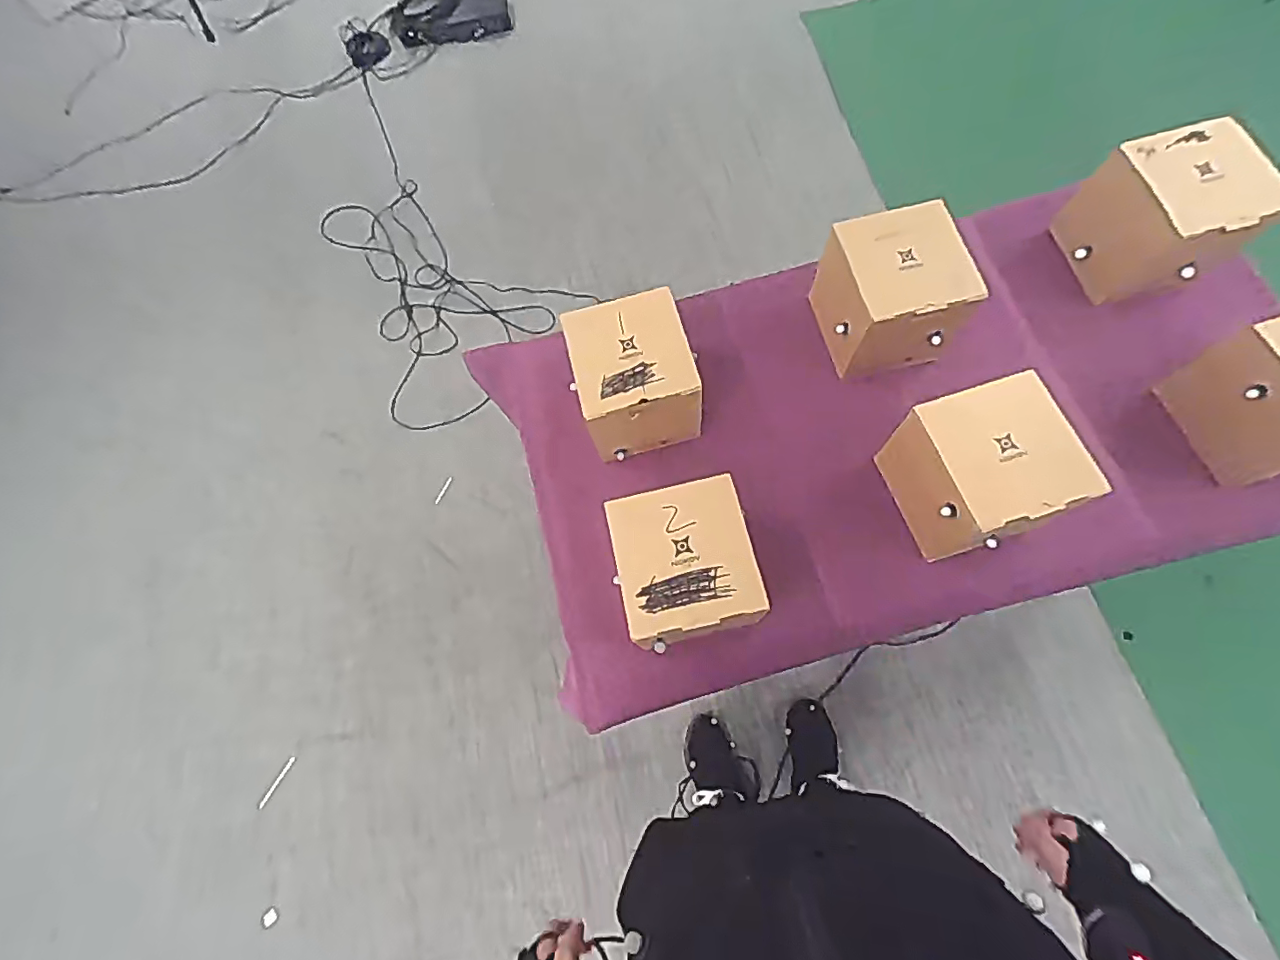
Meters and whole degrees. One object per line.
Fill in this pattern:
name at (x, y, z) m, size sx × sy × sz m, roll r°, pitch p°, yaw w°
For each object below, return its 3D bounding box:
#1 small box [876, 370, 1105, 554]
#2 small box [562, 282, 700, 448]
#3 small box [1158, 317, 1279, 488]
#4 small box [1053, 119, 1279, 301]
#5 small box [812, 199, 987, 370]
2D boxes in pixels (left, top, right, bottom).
small box at (0.453, -0.016, 0.737) m, size 0.168 × 0.176 × 0.179 m, roll -17°, pitch 70°, yaw -1°
small box at (-0.008, -0.162, 0.827) m, size 0.168 × 0.176 × 0.179 m, roll -14°, pitch 70°, yaw 0°
small box at (0.874, -0.111, 0.725) m, size 0.168 × 0.176 × 0.179 m, roll -16°, pitch 70°, yaw 2°
small box at (0.796, -0.399, 0.831) m, size 0.168 × 0.176 × 0.179 m, roll -13°, pitch 73°, yaw 1°
small box at (0.384, -0.288, 0.836) m, size 0.168 × 0.176 × 0.179 m, roll -12°, pitch 71°, yaw 1°
